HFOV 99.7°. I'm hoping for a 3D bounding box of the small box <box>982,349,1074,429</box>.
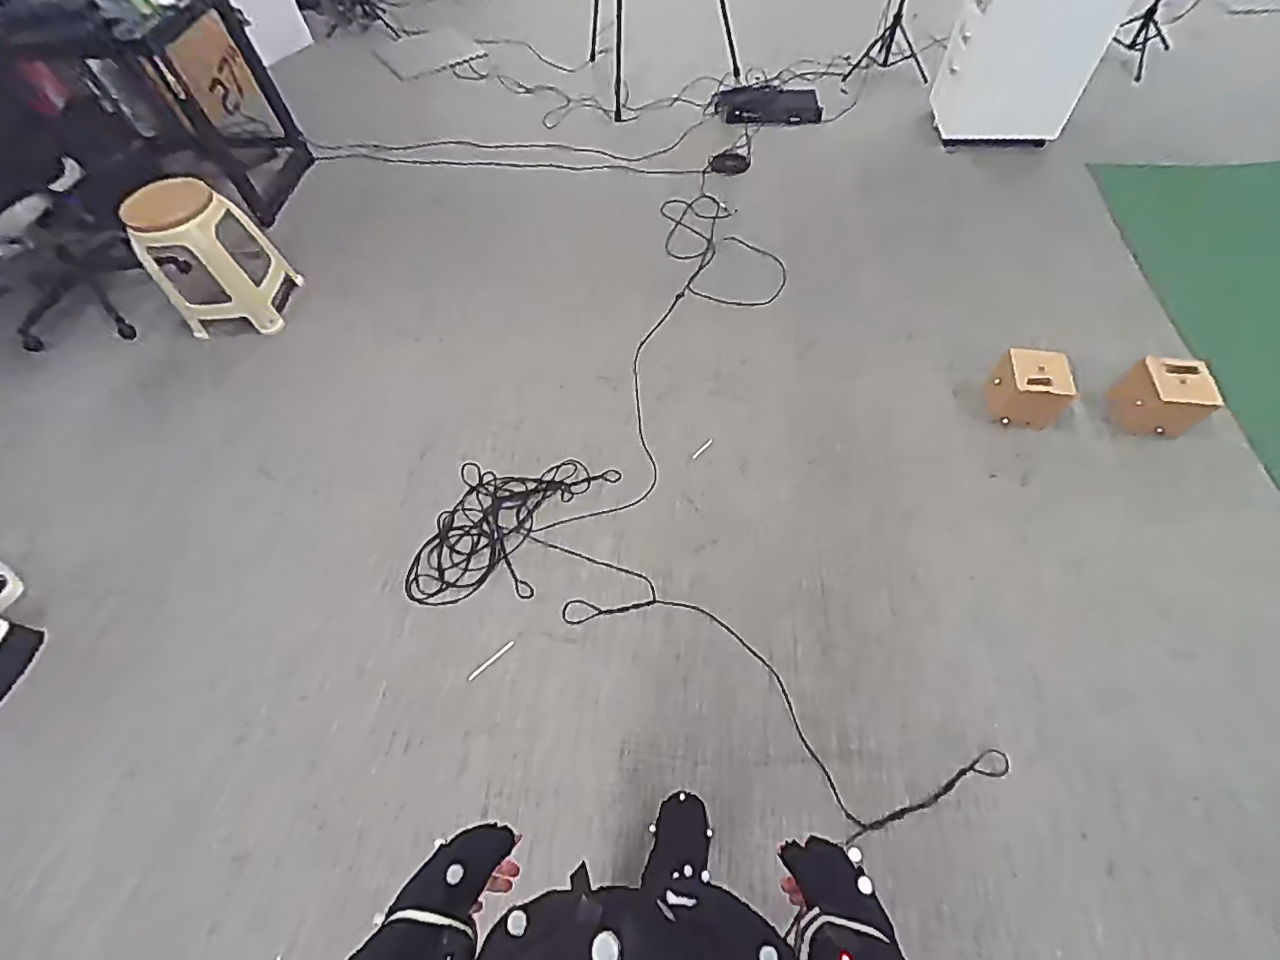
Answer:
[{"bbox_3d":[1.209,-0.282,1.700,0.168,0.176,0.179,8,58,8],"label":"small box"}]
